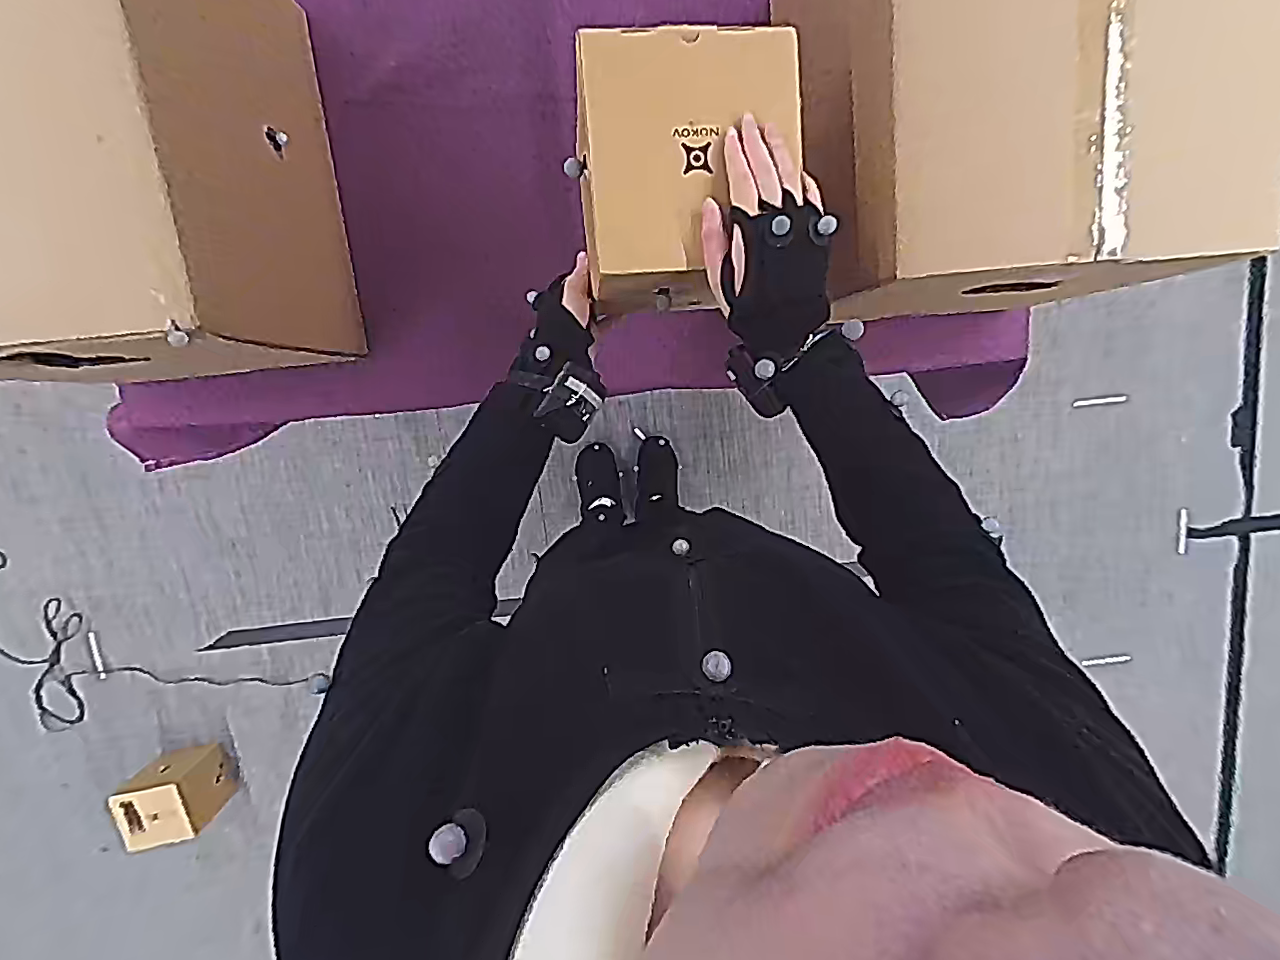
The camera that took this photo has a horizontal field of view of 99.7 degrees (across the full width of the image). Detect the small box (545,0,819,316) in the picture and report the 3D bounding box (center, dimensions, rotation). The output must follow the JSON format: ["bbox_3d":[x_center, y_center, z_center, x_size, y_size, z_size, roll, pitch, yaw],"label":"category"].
[{"bbox_3d":[0.042,-0.265,0.443,0.179,0.176,0.168,-10,77,12],"label":"small box"}]
